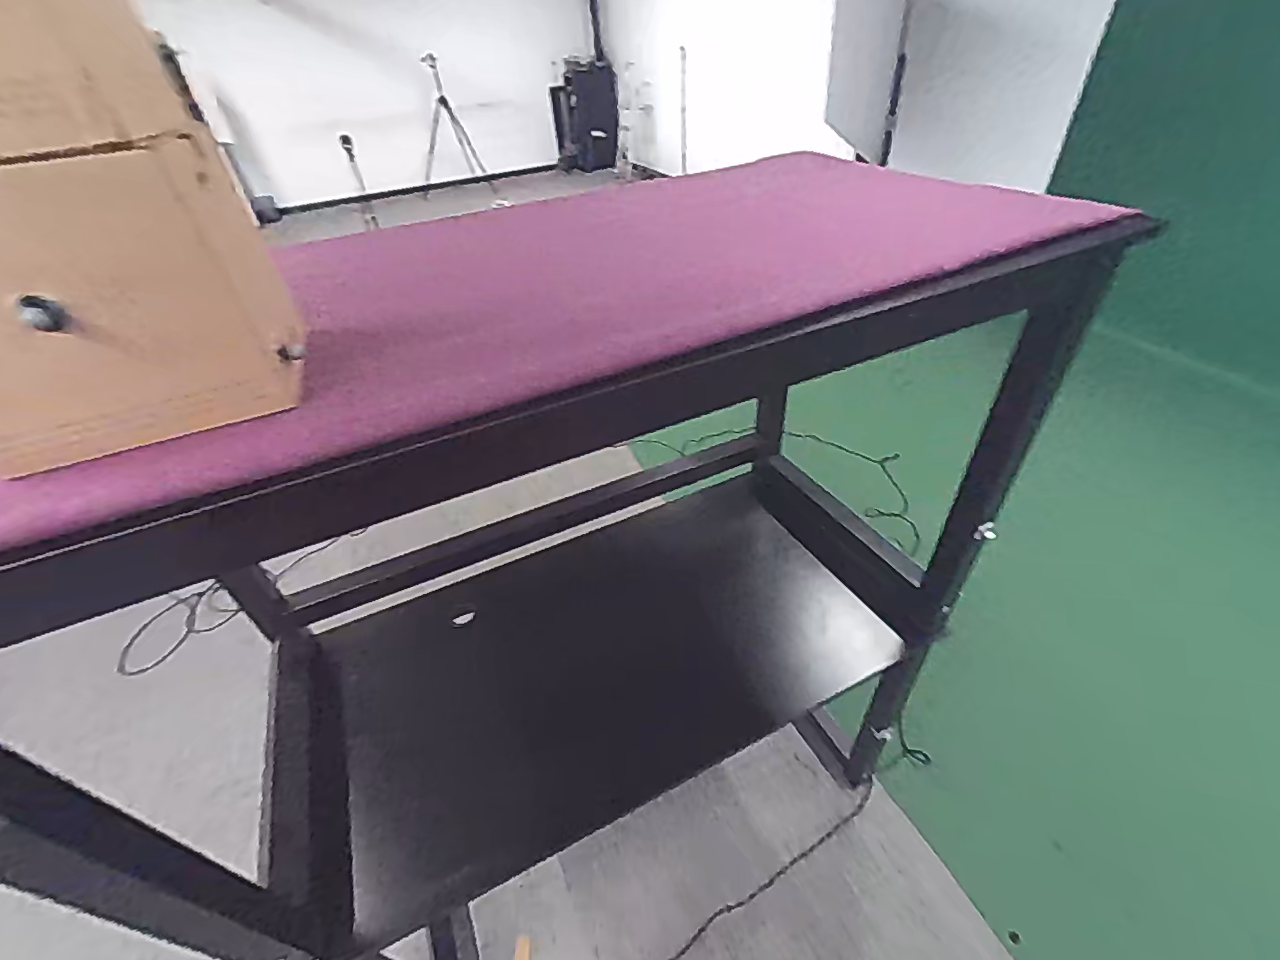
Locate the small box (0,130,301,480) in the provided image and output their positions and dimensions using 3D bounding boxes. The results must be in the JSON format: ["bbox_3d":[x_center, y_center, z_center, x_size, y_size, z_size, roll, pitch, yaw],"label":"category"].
[{"bbox_3d":[-0.366,-0.128,0.377,0.179,0.176,0.168,-20,40,-16],"label":"small box"}]

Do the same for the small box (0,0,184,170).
[{"bbox_3d":[-0.387,-0.258,0.282,0.168,0.176,0.179,-19,40,-17],"label":"small box"}]
